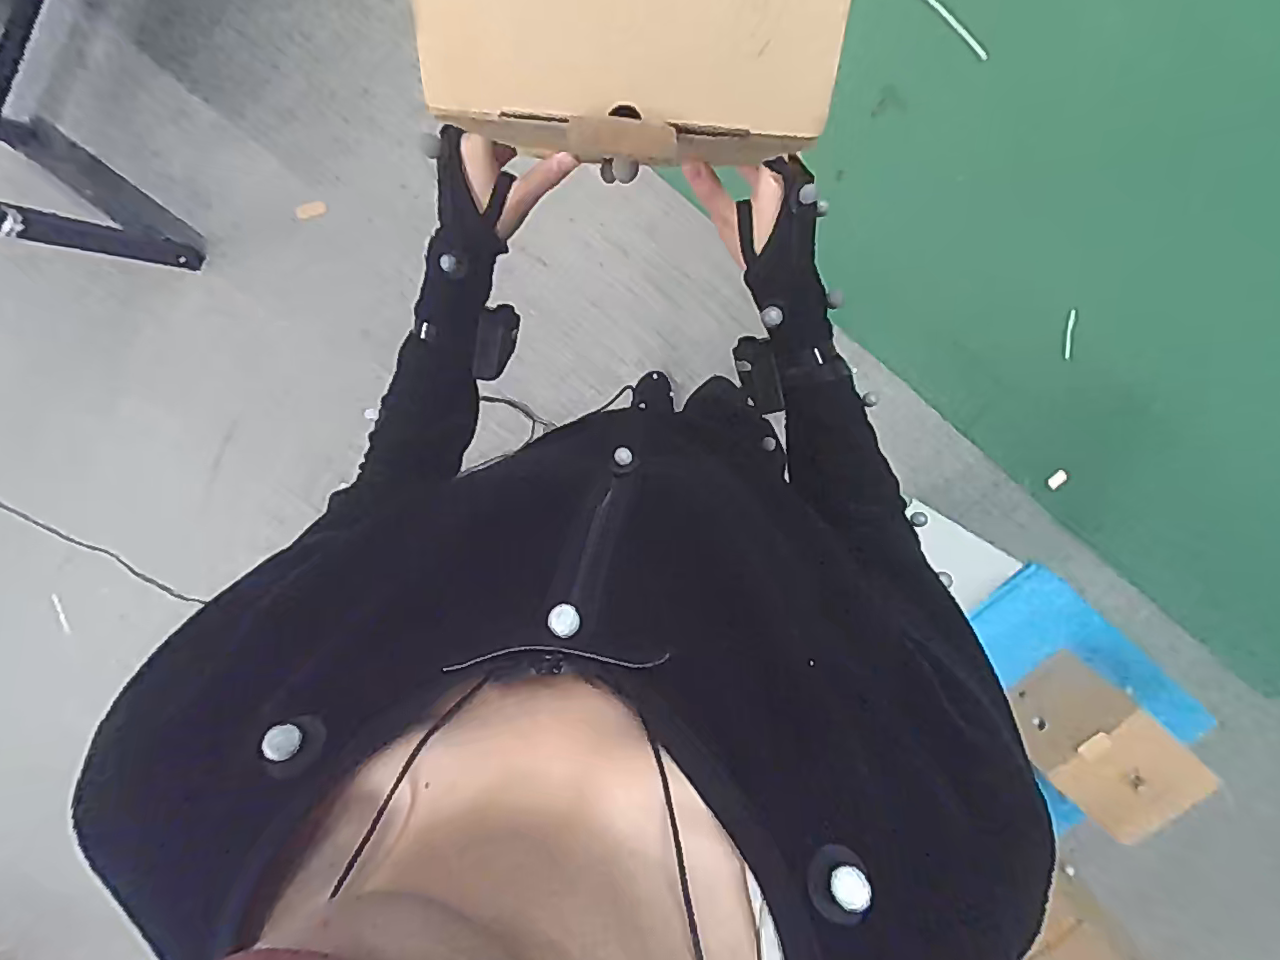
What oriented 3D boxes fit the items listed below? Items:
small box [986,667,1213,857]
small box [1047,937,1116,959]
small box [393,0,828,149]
[{"bbox_3d":[0.699,0.424,0.849,0.179,0.176,0.168,42,103,-6],"label":"small box"},{"bbox_3d":[0.514,0.657,0.573,0.168,0.176,0.179,40,100,-5],"label":"small box"},{"bbox_3d":[-0.006,-0.262,0.248,0.168,0.176,0.179,4,118,-2],"label":"small box"}]
